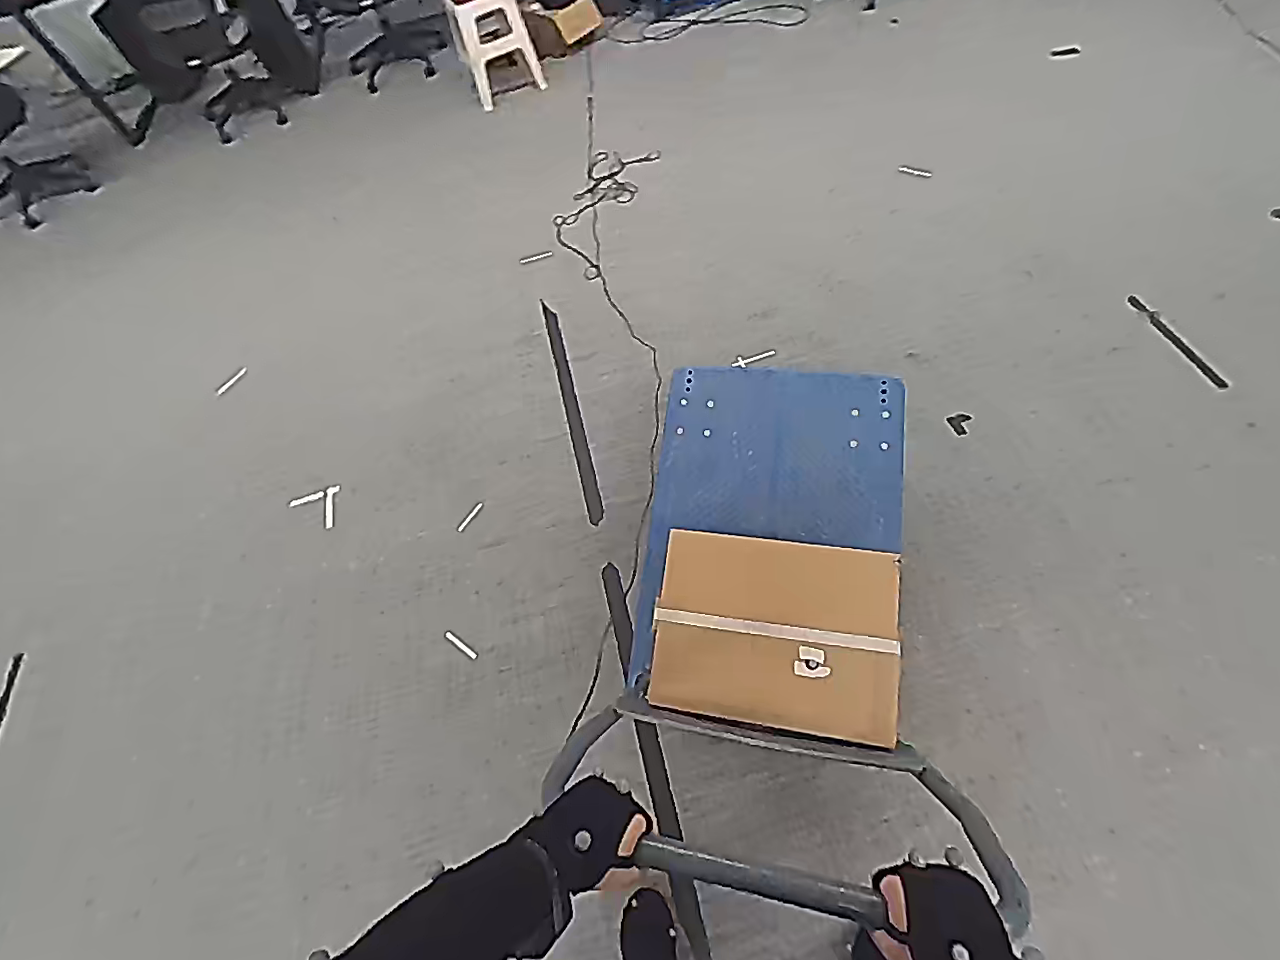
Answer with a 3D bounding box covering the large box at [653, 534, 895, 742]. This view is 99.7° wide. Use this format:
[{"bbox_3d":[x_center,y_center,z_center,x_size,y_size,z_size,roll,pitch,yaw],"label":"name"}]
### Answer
[{"bbox_3d":[0.258,0.306,1.090,0.408,0.320,0.320,5,76,12],"label":"large box"}]
